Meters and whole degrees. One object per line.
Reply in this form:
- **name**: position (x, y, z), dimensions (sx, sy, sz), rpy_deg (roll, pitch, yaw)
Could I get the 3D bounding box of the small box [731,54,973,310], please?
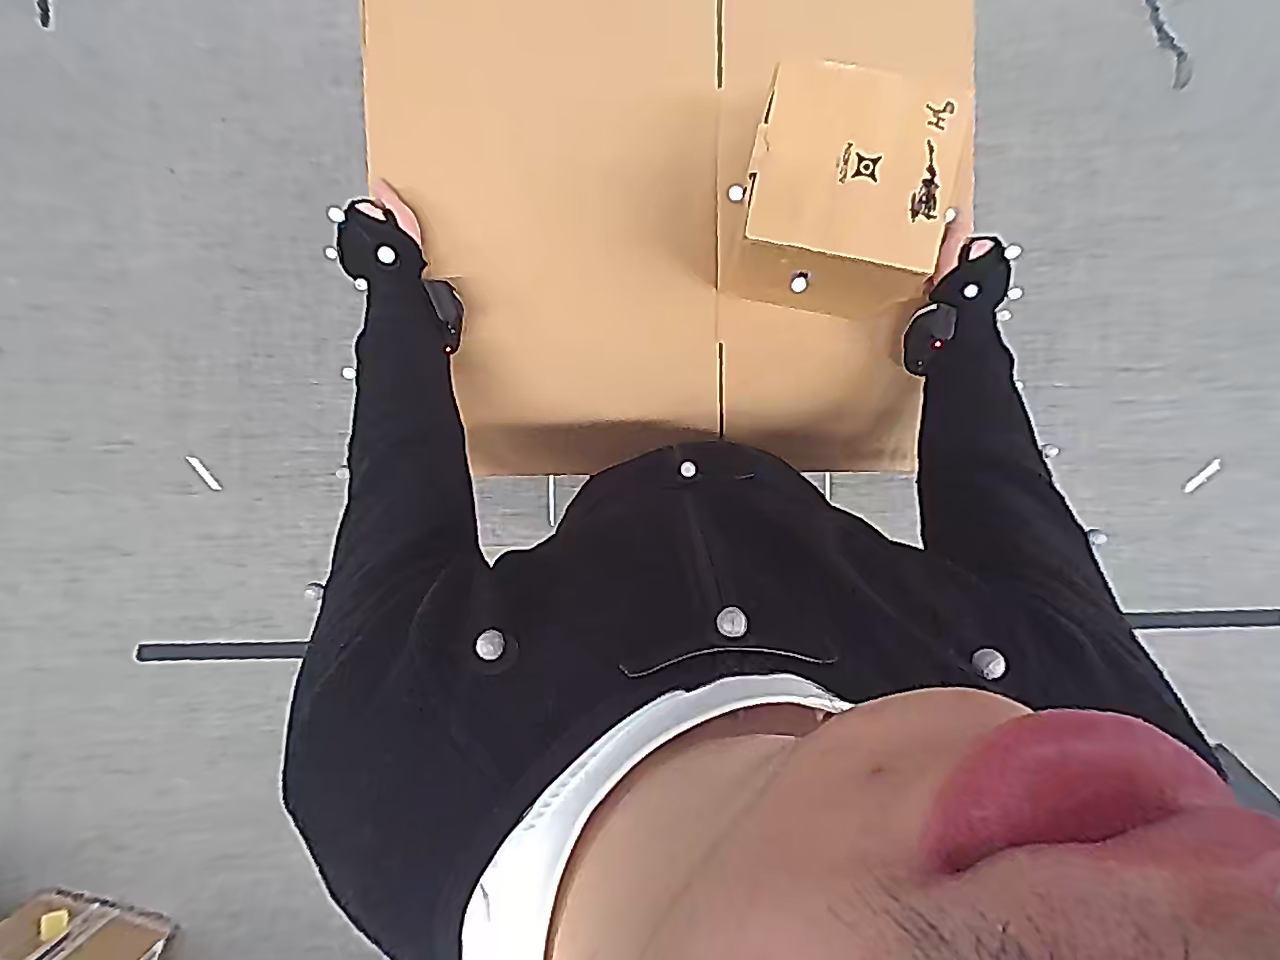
- **small box**: position (0.199, -0.291, 0.565), dimensions (0.179, 0.176, 0.168), rpy_deg (12, 93, 3)
